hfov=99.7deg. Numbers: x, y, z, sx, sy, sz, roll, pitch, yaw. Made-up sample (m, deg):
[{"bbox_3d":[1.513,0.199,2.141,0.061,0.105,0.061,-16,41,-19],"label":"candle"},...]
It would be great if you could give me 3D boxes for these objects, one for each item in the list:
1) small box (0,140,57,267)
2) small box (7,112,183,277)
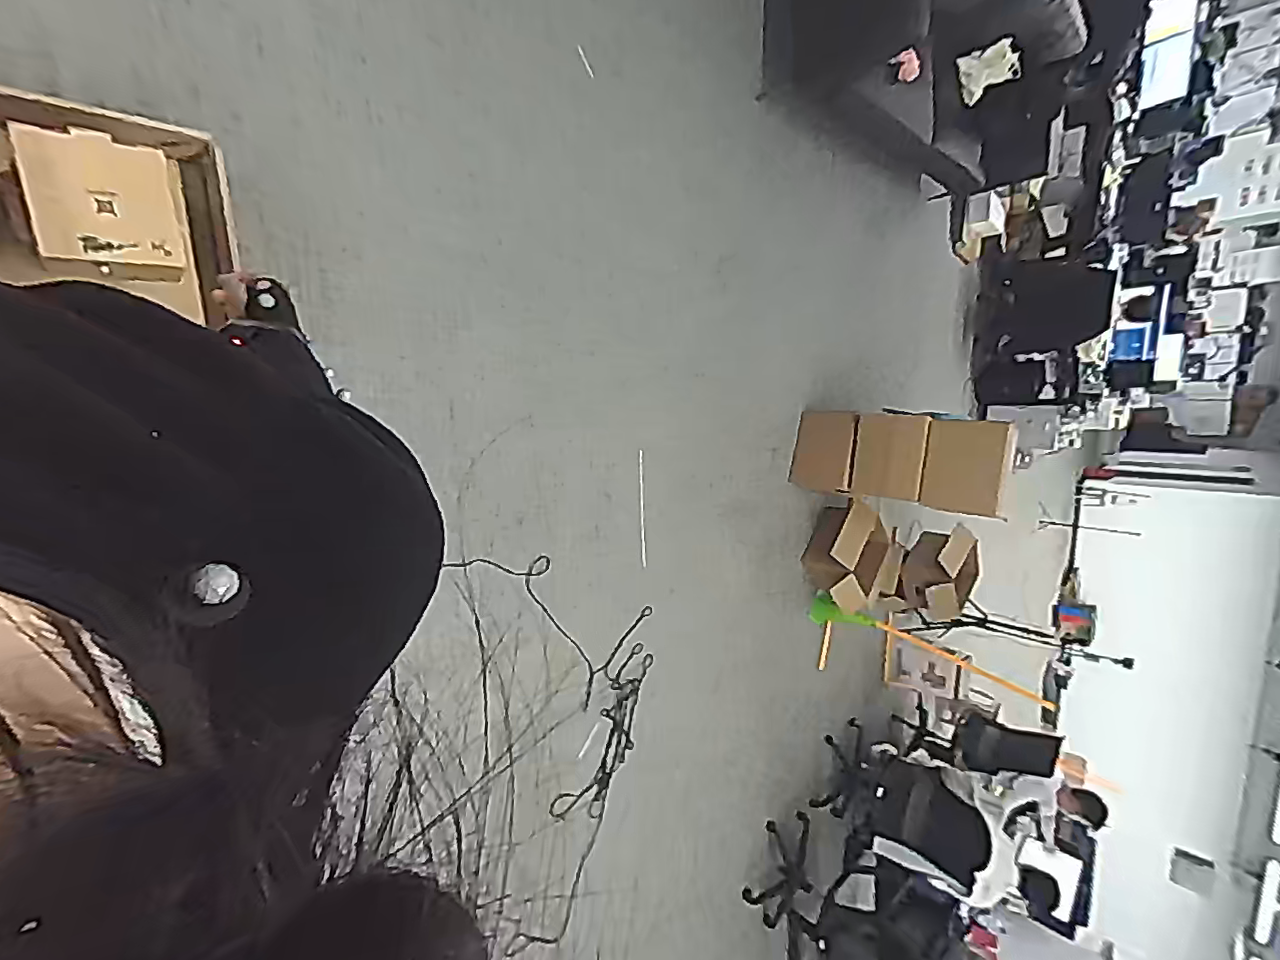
[{"bbox_3d":[-0.972,-0.475,0.964,0.179,0.176,0.168,-18,109,-41],"label":"small box"},{"bbox_3d":[-0.853,-0.435,0.857,0.168,0.176,0.179,-13,104,-42],"label":"small box"}]
